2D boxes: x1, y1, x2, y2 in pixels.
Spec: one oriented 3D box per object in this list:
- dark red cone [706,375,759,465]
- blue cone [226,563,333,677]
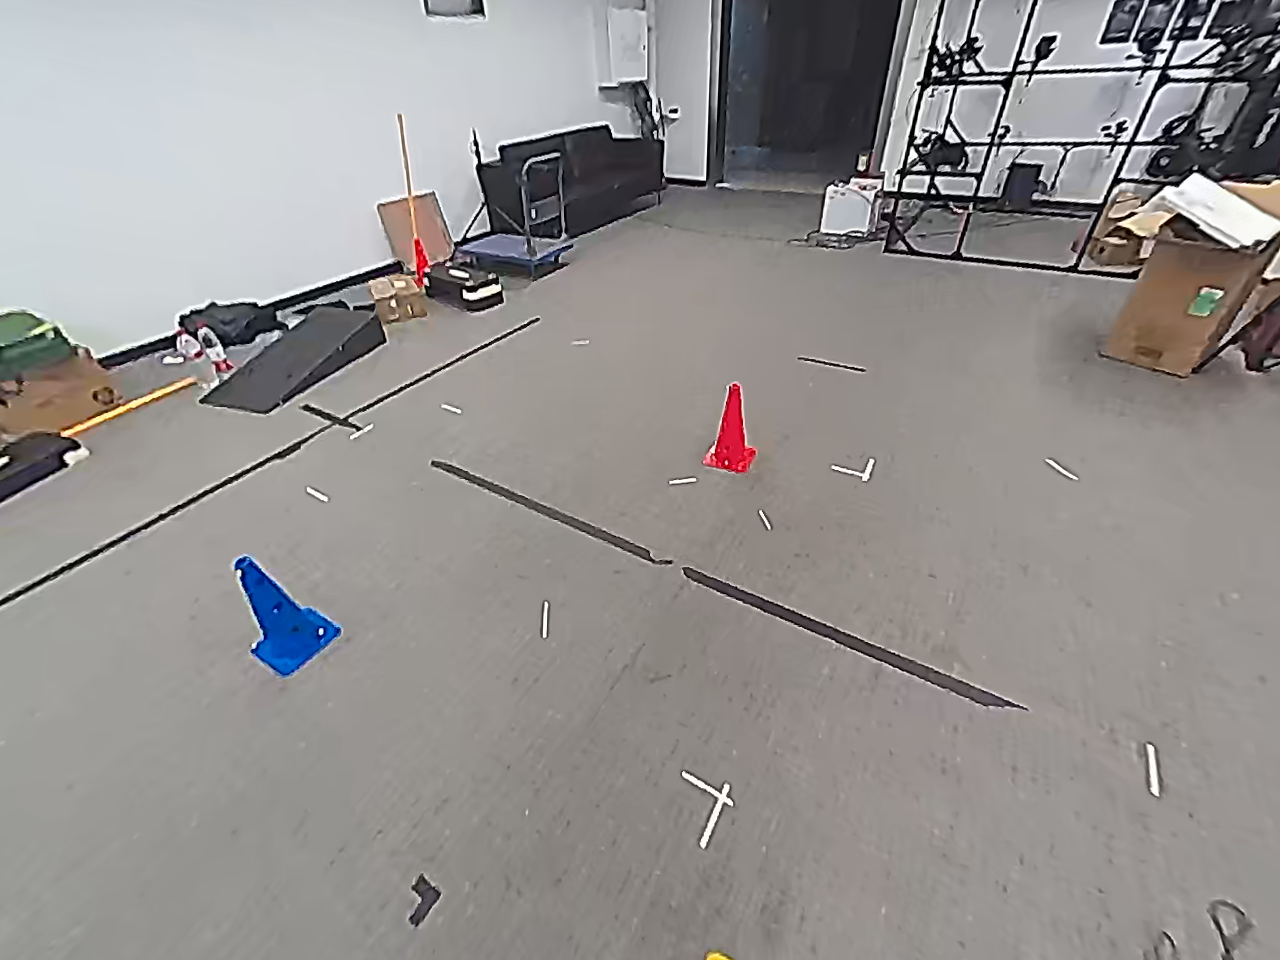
[{"bbox_3d":[0.403,-0.262,2.274,0.202,0.394,0.201,14,41,21],"label":"dark red cone"},{"bbox_3d":[-1.082,0.376,1.577,0.193,0.380,0.192,20,44,27],"label":"blue cone"}]
